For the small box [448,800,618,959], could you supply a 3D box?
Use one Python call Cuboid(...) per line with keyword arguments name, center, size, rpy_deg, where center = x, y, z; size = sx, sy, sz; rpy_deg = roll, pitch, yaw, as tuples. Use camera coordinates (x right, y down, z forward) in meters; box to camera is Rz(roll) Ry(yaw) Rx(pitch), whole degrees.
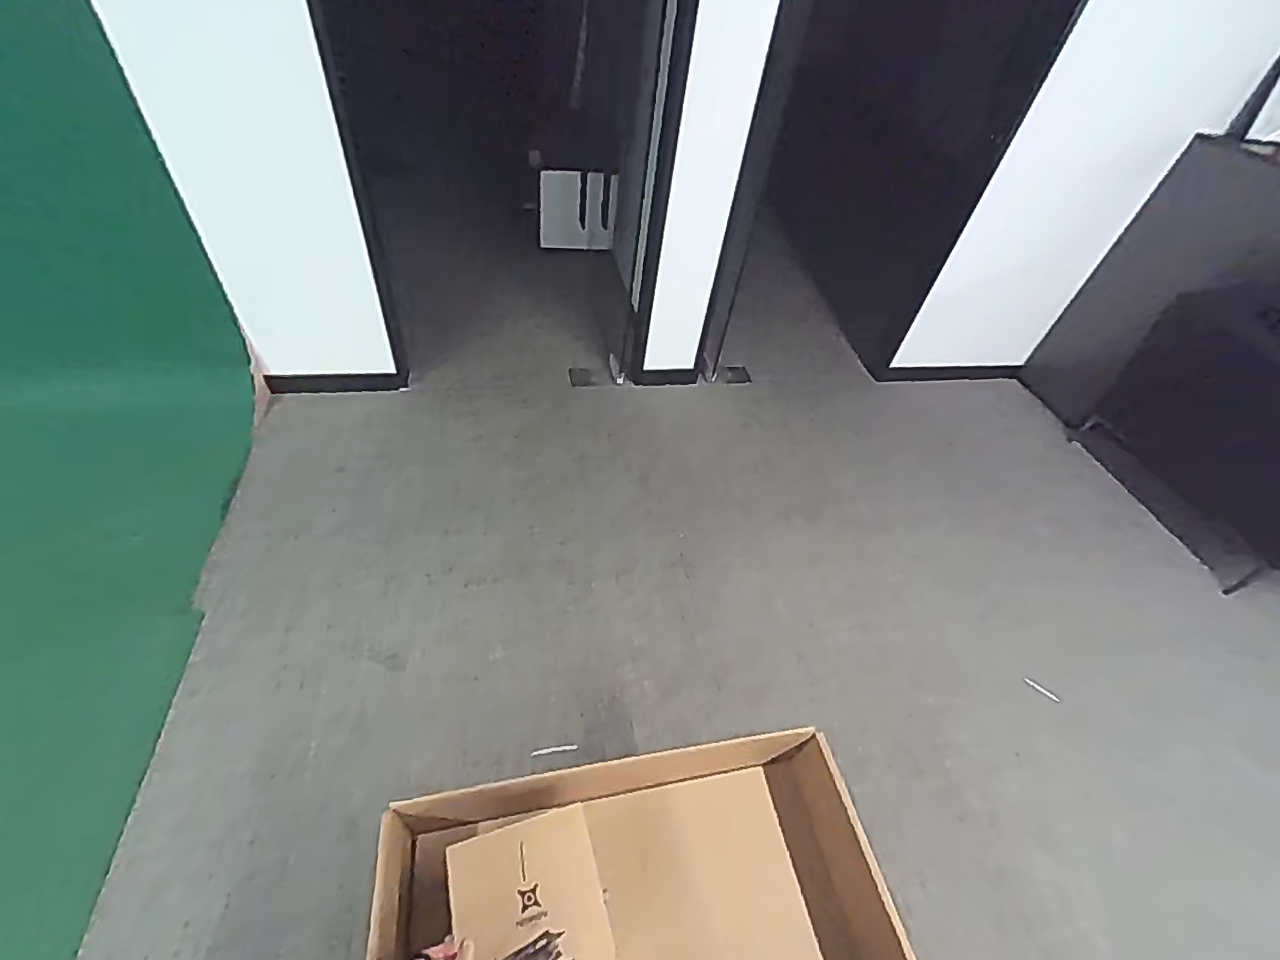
Cuboid(name="small box", center=(-0.133, 0.532, 0.663), size=(0.168, 0.176, 0.179), rpy_deg=(-9, 48, -19))
